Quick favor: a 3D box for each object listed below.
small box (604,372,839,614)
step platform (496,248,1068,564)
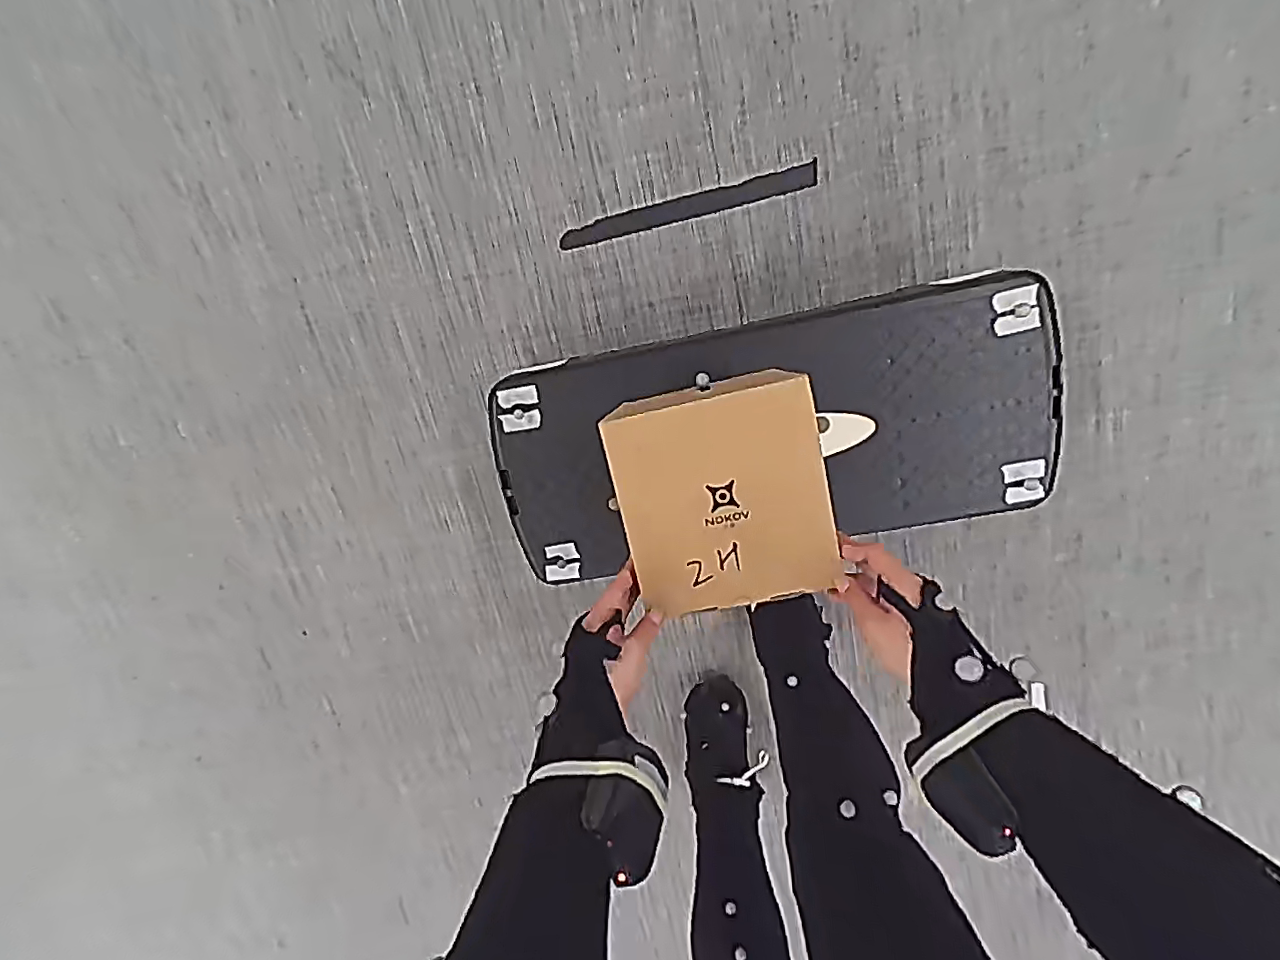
[{"bbox_3d":[0.072,0.000,0.514,0.168,0.176,0.179,-12,102,8],"label":"small box"},{"bbox_3d":[0.162,-0.090,0.724,0.684,0.204,0.286,-11,103,7],"label":"step platform"}]
